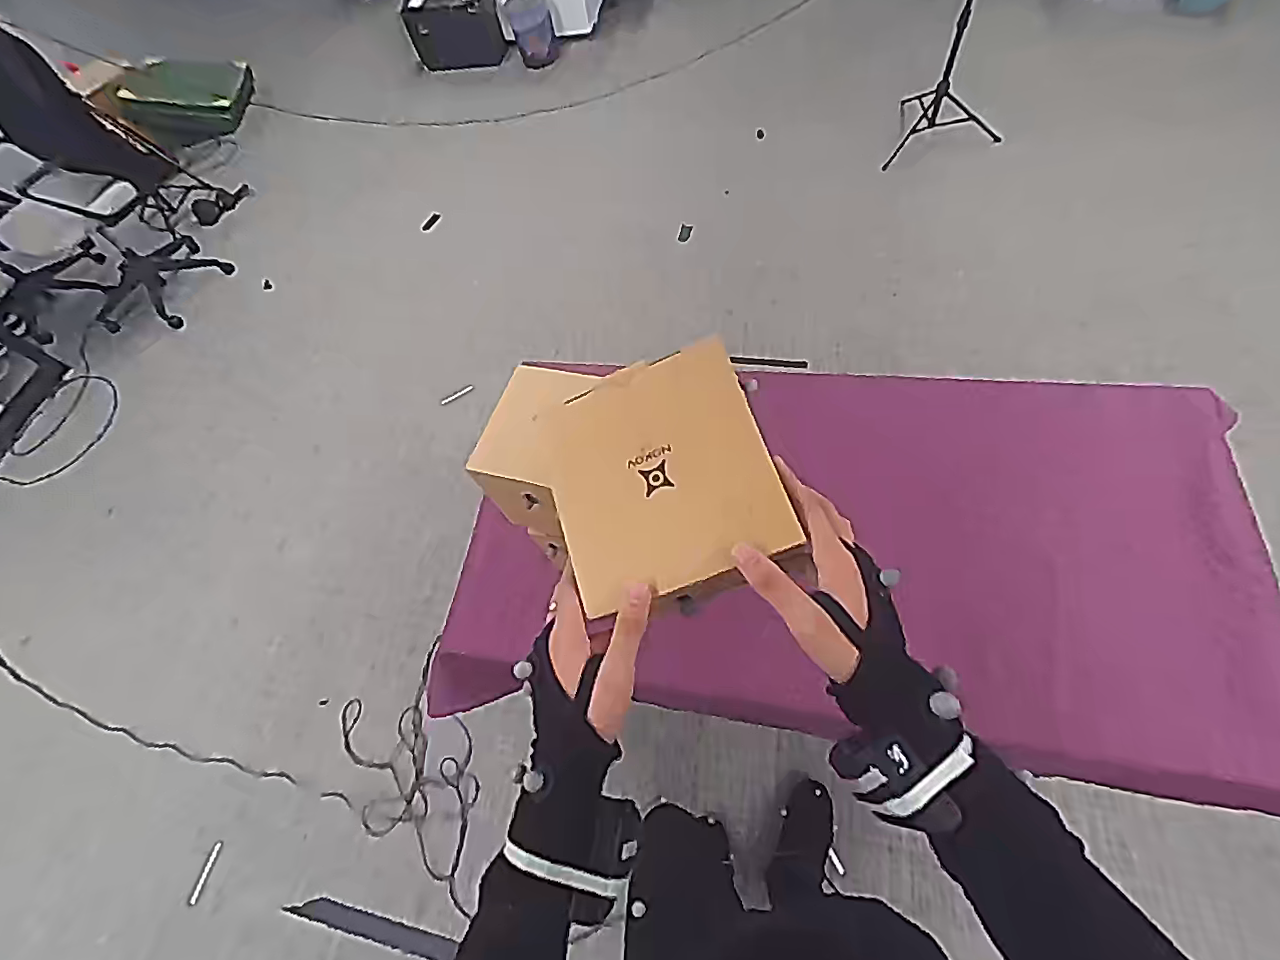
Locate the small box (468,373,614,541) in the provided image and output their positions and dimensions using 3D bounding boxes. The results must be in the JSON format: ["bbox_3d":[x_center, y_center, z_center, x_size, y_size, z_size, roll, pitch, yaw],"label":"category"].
[{"bbox_3d":[-0.094,-0.020,0.737,0.179,0.176,0.168,12,65,16],"label":"small box"}]

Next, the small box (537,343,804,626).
[{"bbox_3d":[0.037,0.019,0.480,0.168,0.176,0.179,-23,69,10],"label":"small box"}]
